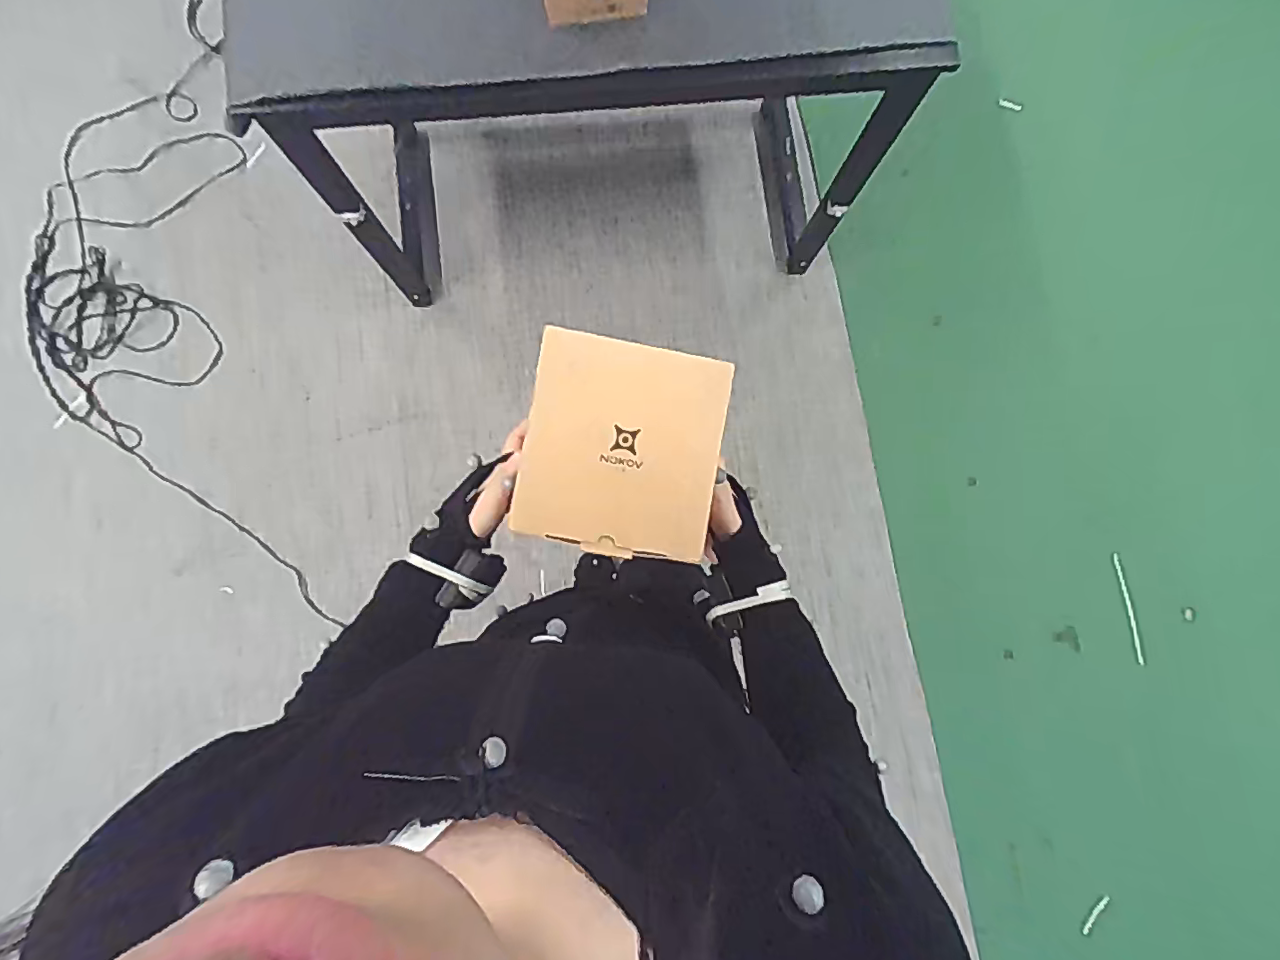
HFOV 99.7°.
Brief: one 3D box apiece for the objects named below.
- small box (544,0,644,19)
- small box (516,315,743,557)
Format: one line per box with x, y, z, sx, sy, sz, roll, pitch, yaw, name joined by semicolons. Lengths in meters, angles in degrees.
-0.082;-0.857;0.818;0.168;0.176;0.179;-10;82;-4;small box
-0.016;-0.032;0.518;0.168;0.176;0.179;9;88;-6;small box
